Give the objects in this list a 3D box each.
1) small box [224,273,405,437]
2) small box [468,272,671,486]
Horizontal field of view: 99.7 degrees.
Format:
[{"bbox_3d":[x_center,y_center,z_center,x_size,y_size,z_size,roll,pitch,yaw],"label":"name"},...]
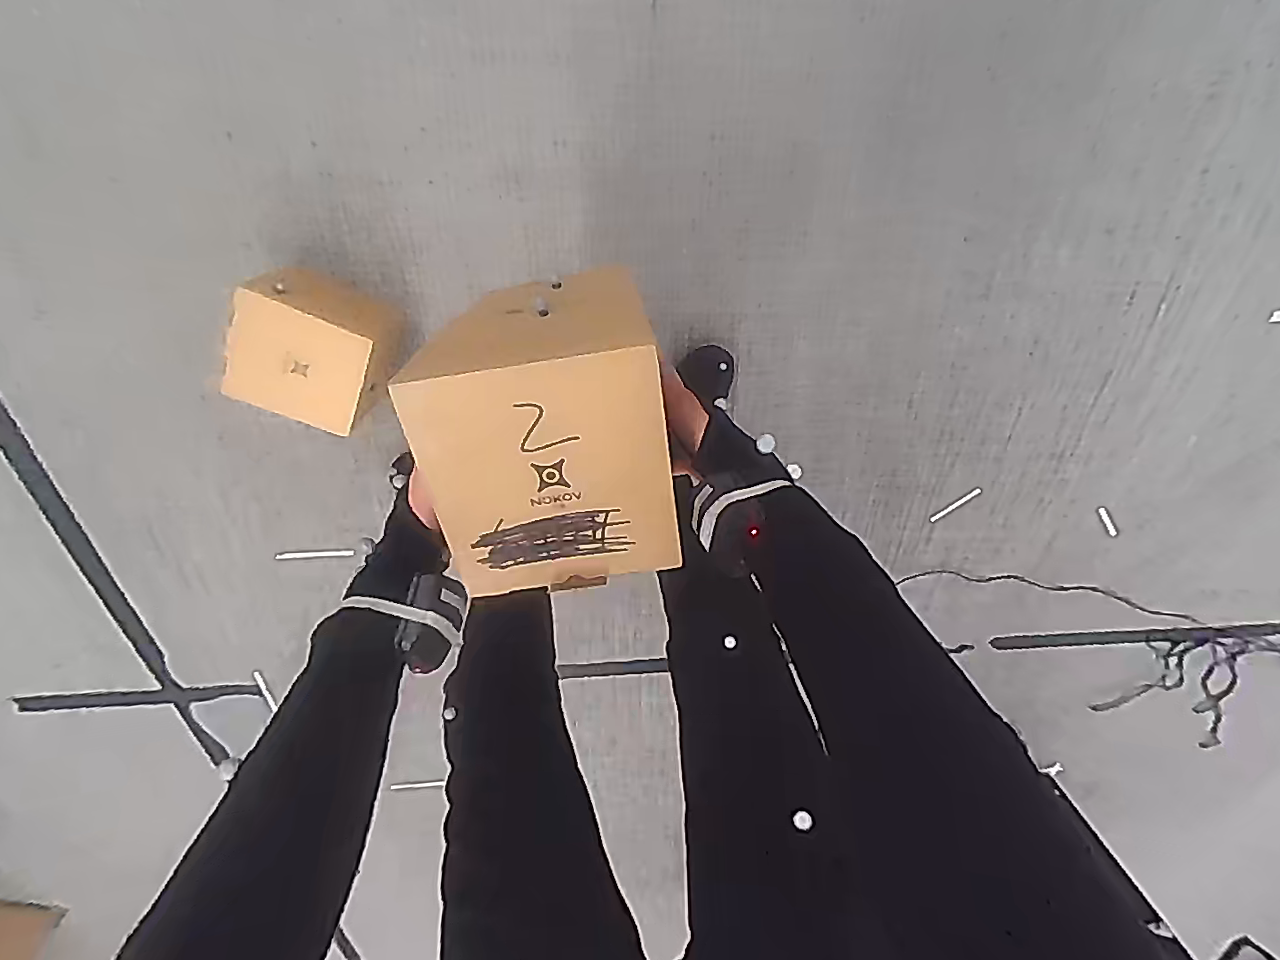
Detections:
[{"bbox_3d":[-0.483,-0.196,0.824,0.179,0.176,0.168,21,115,-17],"label":"small box"},{"bbox_3d":[-0.067,-0.119,0.583,0.168,0.176,0.179,-10,118,1],"label":"small box"}]
